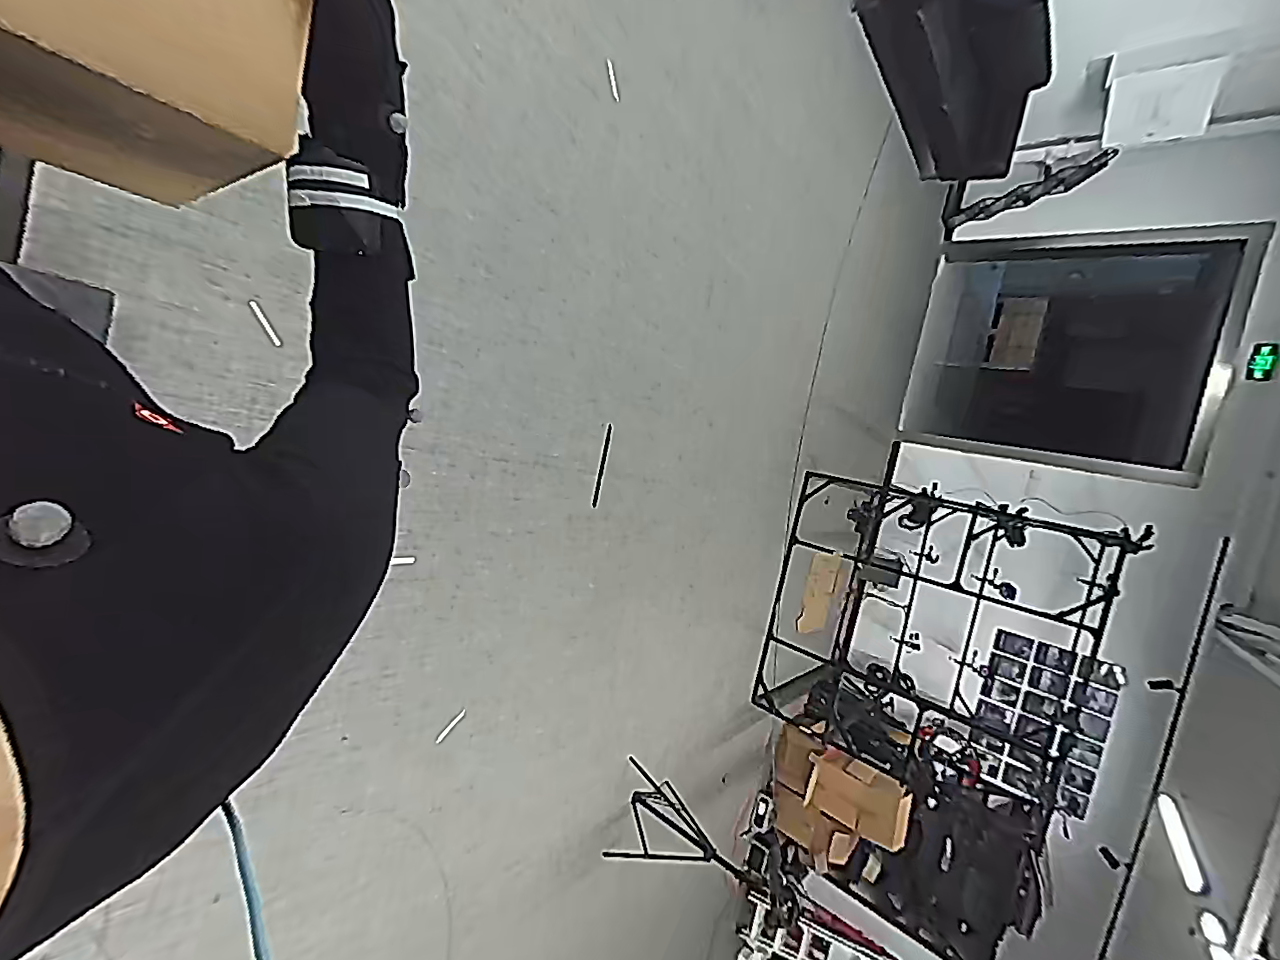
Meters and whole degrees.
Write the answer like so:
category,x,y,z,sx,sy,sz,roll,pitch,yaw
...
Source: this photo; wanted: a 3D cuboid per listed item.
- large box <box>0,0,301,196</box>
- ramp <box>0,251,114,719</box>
category,x,y,z,sx,sy,sz,roll,pitch,yaw
large box,-0.467,-0.422,0.308,0.408,0.320,0.320,4,98,-53
ramp,-1.342,0.052,0.953,0.509,0.206,0.991,5,99,-53
